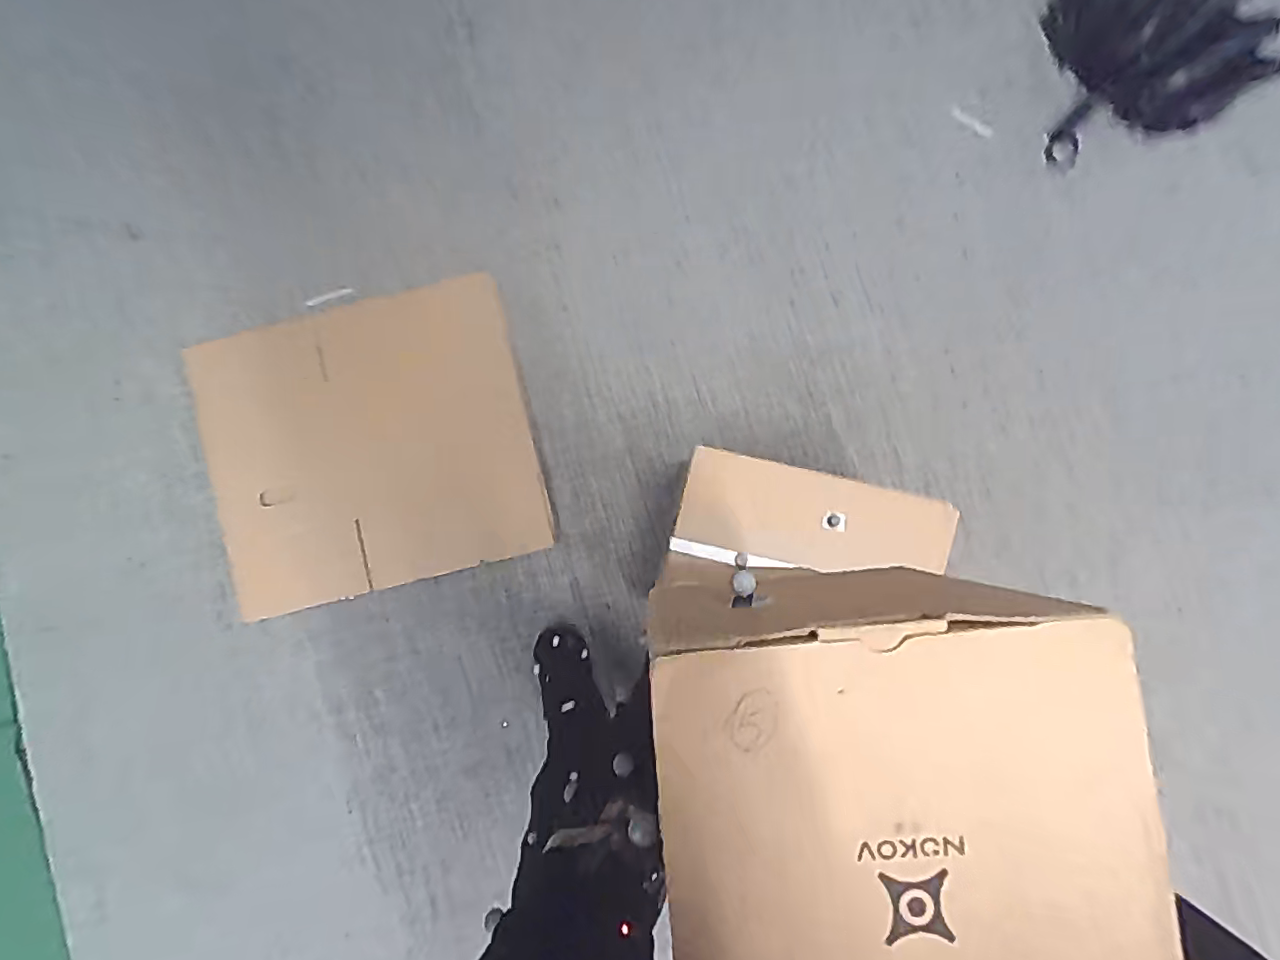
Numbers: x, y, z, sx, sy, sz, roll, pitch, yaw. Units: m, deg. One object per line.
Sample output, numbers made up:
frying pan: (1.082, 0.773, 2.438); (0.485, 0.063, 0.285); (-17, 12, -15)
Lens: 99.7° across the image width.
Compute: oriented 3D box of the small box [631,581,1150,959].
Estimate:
small box: (0.086, 0.145, 0.263); (0.168, 0.176, 0.179); (-6, 85, 3)
